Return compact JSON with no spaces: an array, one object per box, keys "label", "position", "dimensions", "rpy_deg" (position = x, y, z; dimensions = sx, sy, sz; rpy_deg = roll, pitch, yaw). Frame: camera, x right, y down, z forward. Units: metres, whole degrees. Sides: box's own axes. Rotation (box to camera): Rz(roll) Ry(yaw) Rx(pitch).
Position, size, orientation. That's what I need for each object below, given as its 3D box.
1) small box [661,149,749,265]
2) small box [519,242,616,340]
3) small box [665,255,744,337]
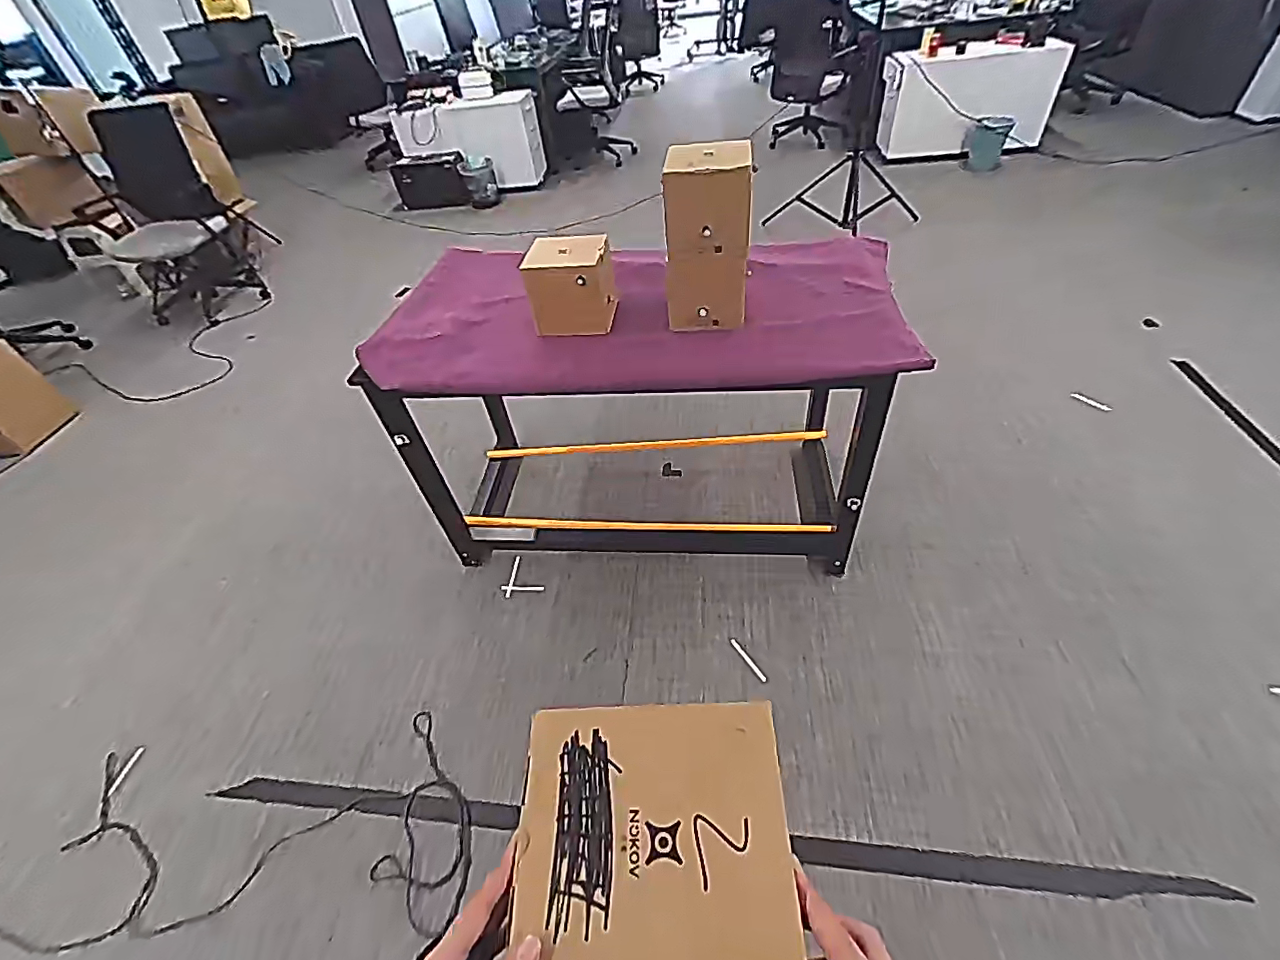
[{"label":"small box","position":[0.138,-0.559,1.112],"dimensions":[0.168,0.176,0.179],"rpy_deg":[1,45,10]},{"label":"small box","position":[-0.162,-0.441,1.272],"dimensions":[0.179,0.176,0.168],"rpy_deg":[1,45,8]},{"label":"small box","position":[0.149,-0.443,1.229],"dimensions":[0.168,0.176,0.179],"rpy_deg":[1,46,9]}]
